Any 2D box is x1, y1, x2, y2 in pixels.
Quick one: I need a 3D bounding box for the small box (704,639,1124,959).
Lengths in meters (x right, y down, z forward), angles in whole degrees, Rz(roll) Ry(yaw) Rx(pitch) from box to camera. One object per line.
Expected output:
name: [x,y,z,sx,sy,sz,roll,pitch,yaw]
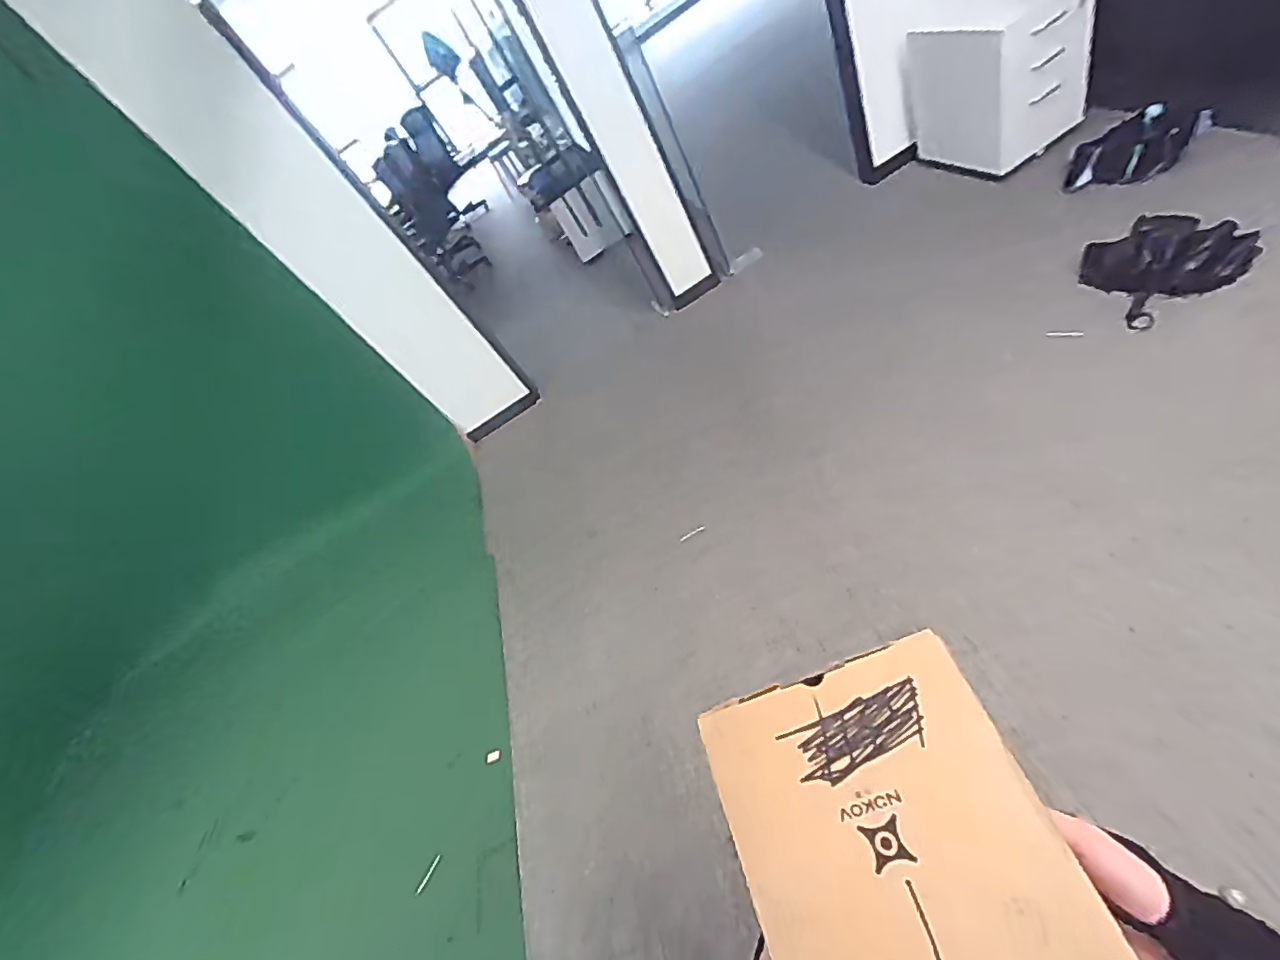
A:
small box: [0.159,0.237,0.372,0.168,0.176,0.179,-22,55,7]
